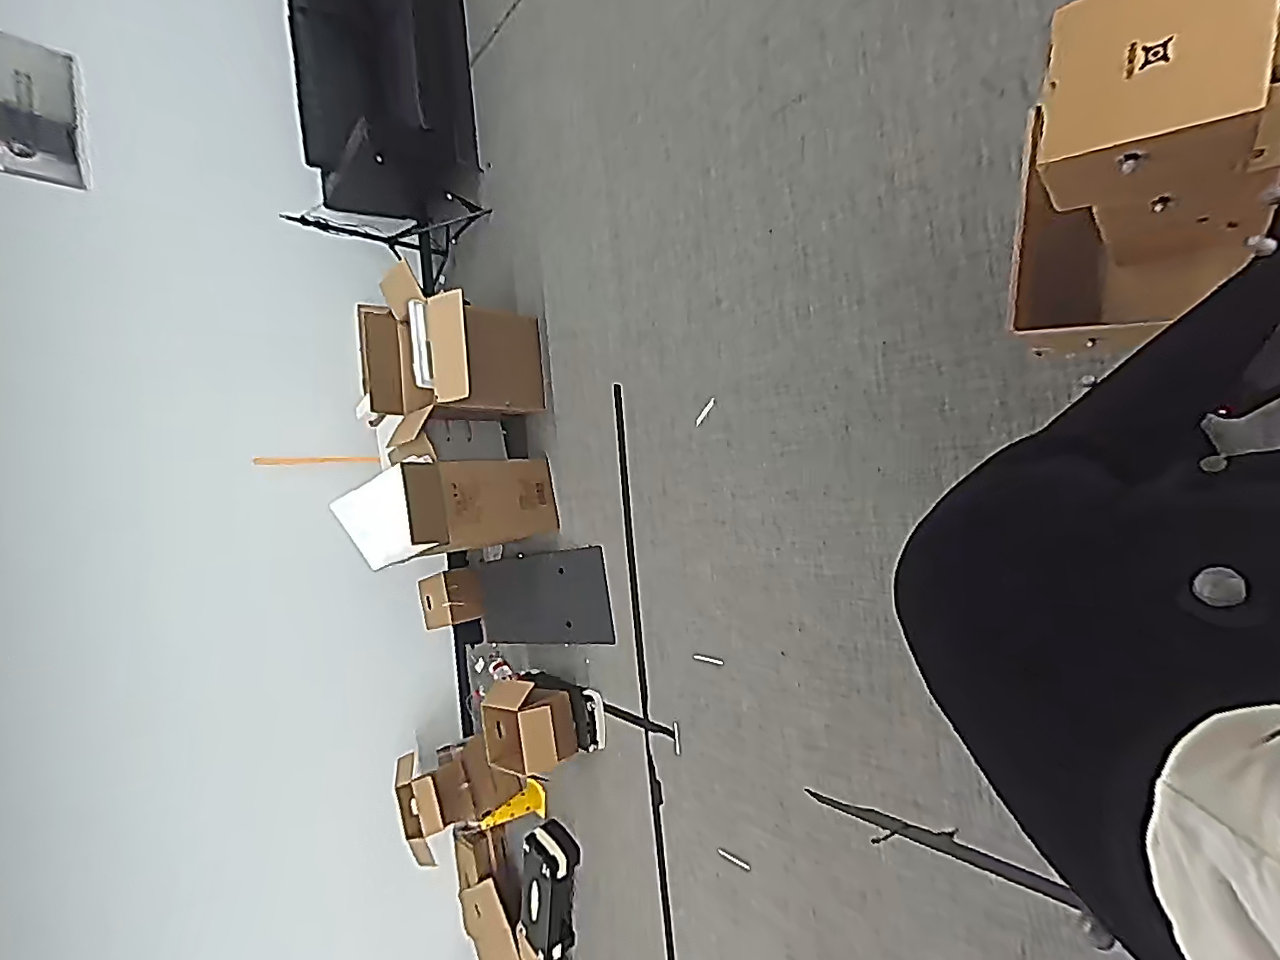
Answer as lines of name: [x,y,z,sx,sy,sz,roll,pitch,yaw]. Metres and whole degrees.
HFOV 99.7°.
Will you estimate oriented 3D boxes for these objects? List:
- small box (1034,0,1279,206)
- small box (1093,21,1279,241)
small box: [0.568,-0.431,0.600,0.179,0.176,0.168,8,98,45]
small box: [0.702,-0.437,0.696,0.168,0.176,0.179,4,95,46]
